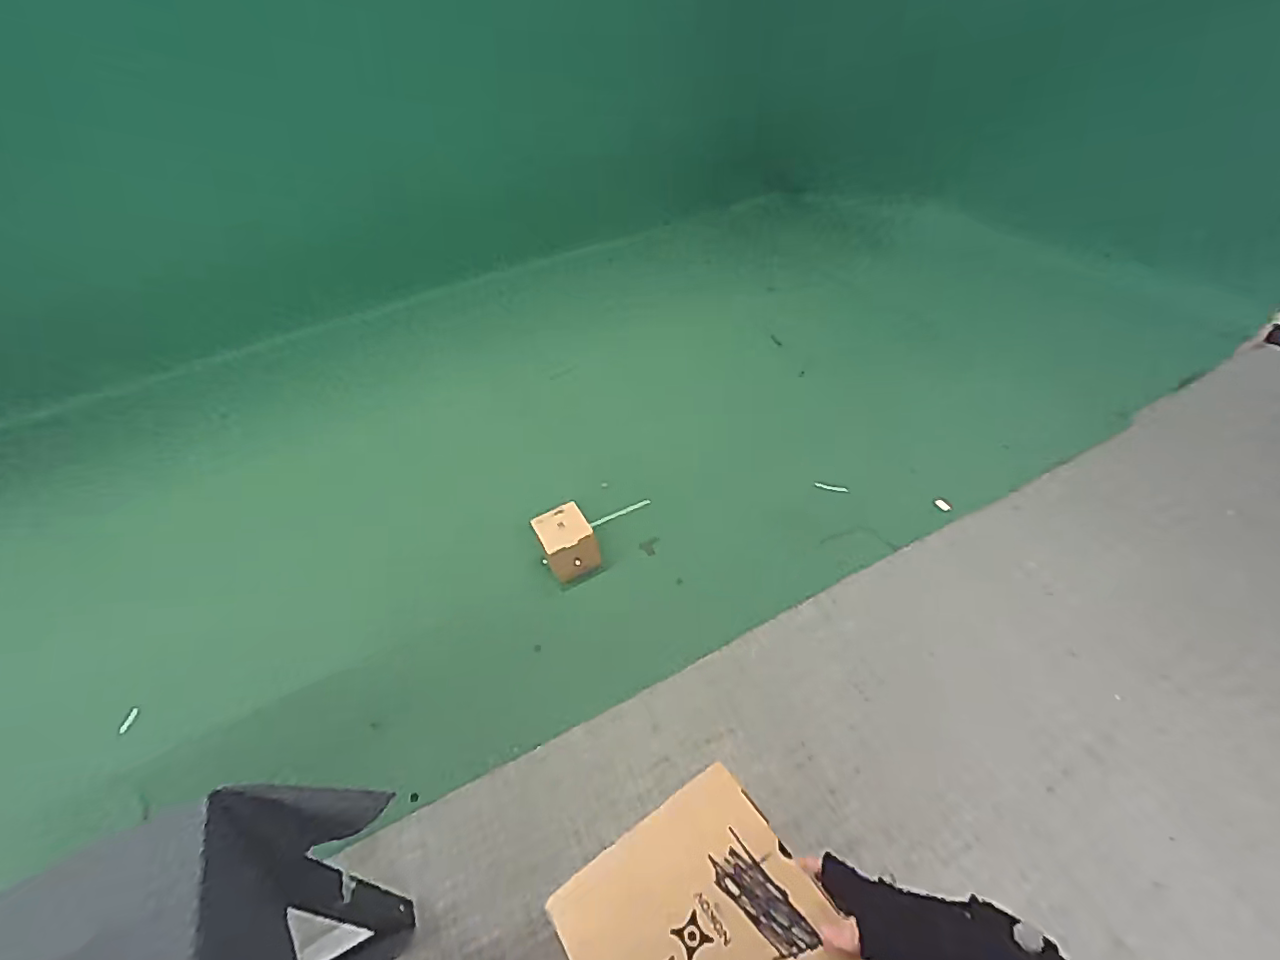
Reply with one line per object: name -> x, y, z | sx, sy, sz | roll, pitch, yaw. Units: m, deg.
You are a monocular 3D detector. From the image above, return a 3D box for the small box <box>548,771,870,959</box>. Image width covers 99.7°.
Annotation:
small box -> 0.051, 0.385, 0.435 | 0.179, 0.176, 0.168 | -28, 45, -22

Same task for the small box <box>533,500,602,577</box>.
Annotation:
small box -> -0.245, 0.208, 1.848 | 0.168, 0.176, 0.179 | -24, 47, -15
